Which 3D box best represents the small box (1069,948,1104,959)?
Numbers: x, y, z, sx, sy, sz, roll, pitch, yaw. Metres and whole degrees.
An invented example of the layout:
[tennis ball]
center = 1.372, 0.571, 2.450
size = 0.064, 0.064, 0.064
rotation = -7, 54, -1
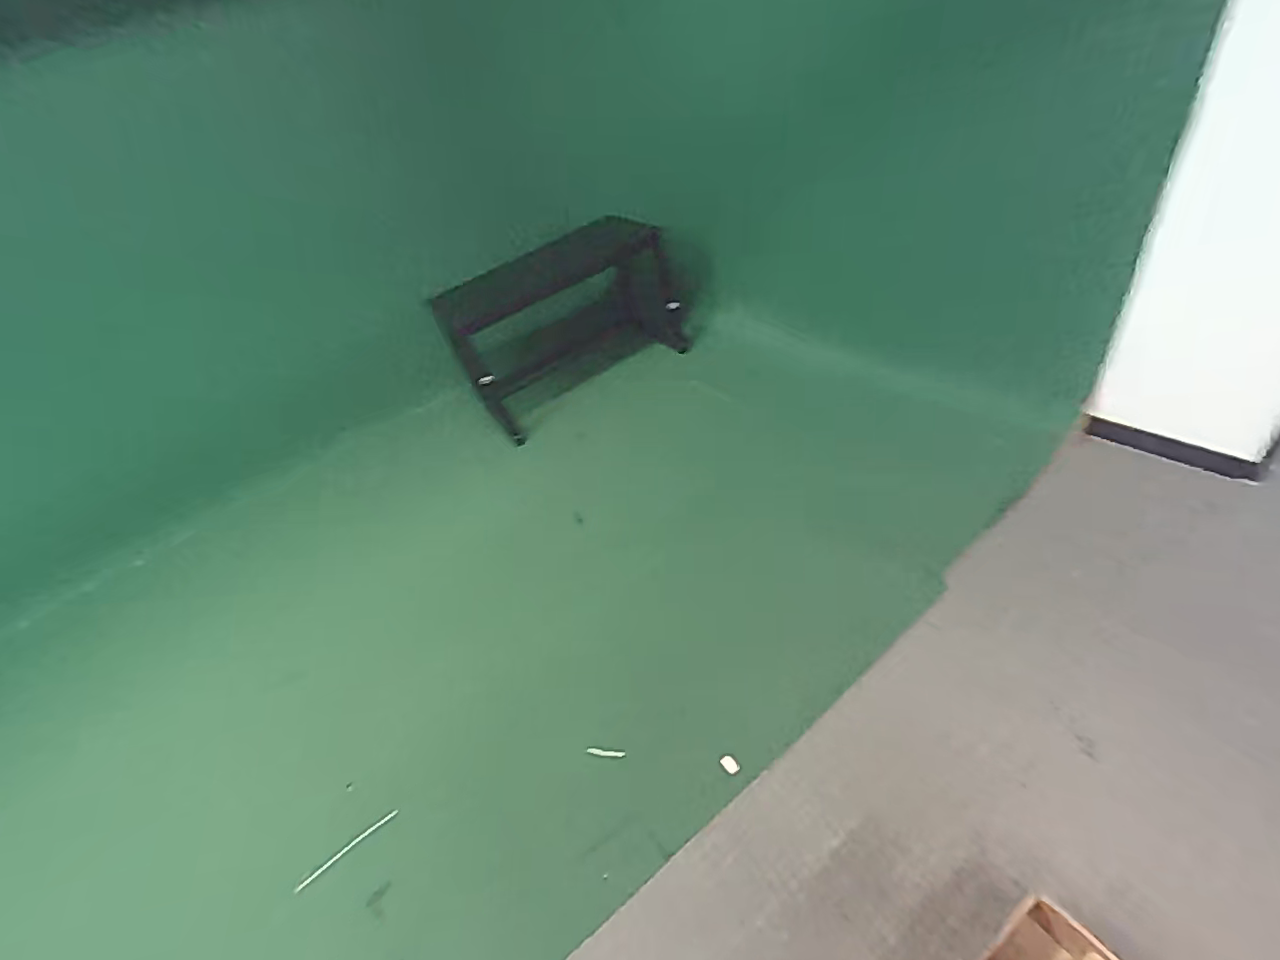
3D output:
[small box]
center = 0.606, 0.774, 0.704
size = 0.179, 0.176, 0.168
rotation = -33, 42, -17
